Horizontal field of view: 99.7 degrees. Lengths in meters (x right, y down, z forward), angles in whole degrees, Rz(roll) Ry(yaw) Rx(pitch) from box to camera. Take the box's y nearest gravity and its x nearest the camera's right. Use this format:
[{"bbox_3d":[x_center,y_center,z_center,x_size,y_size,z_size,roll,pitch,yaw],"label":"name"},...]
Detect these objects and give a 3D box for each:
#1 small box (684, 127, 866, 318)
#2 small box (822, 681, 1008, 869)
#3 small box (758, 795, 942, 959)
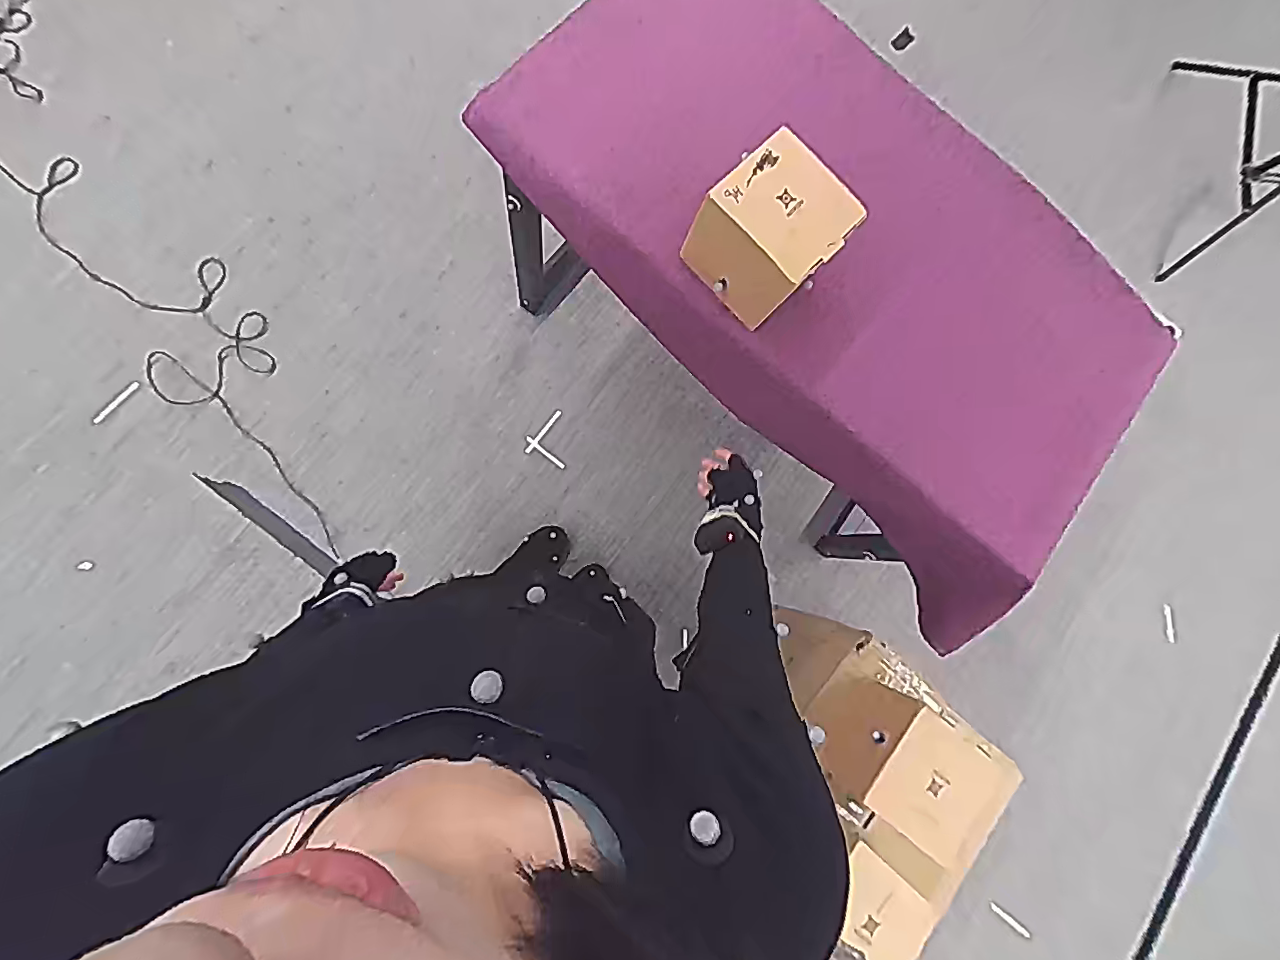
[{"bbox_3d":[0.195,-0.373,0.827,0.179,0.176,0.168,46,78,-2],"label":"small box"},{"bbox_3d":[0.429,0.455,0.872,0.168,0.176,0.179,39,80,-1],"label":"small box"},{"bbox_3d":[0.305,0.636,0.829,0.168,0.176,0.179,43,77,-1],"label":"small box"}]
